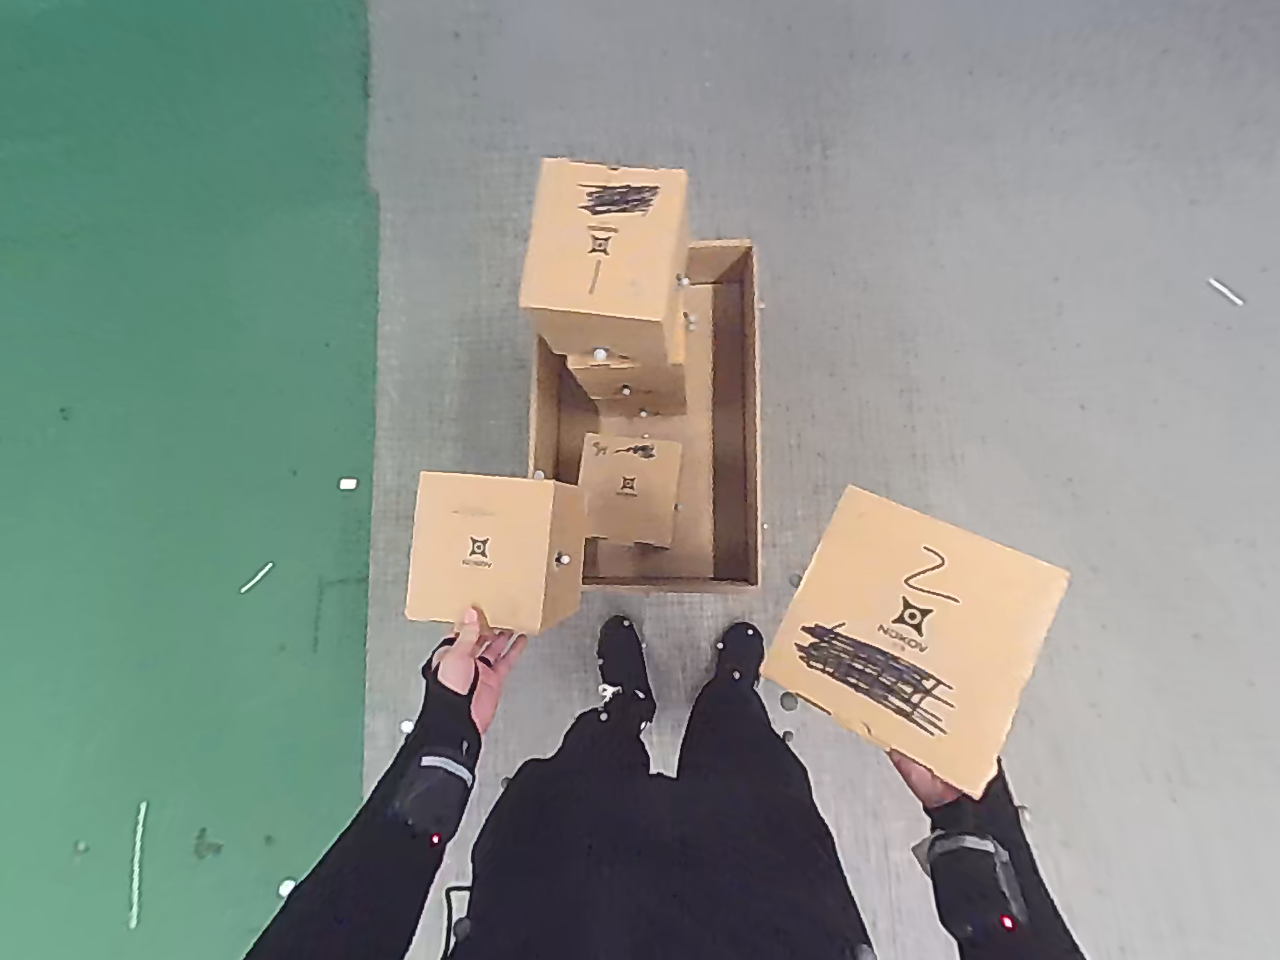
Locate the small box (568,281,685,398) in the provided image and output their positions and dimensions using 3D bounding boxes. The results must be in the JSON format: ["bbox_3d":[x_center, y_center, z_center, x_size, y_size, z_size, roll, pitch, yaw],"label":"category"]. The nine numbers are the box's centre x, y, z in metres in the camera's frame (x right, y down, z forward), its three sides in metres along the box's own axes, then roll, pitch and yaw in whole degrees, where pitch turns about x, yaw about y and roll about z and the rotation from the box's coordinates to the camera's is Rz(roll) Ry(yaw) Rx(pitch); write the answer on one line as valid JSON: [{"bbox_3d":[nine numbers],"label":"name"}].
[{"bbox_3d":[-0.015,-0.234,0.844,0.168,0.176,0.179,-1,85,4],"label":"small box"}]

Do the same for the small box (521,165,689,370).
[{"bbox_3d":[-0.034,-0.256,0.681,0.168,0.176,0.179,8,86,6],"label":"small box"}]

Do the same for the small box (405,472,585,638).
[{"bbox_3d":[-0.174,0.089,0.698,0.168,0.176,0.179,5,86,8],"label":"small box"}]

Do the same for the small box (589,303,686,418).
[{"bbox_3d":[0.001,-0.219,1.004,0.168,0.176,0.179,-1,84,6],"label":"small box"}]
